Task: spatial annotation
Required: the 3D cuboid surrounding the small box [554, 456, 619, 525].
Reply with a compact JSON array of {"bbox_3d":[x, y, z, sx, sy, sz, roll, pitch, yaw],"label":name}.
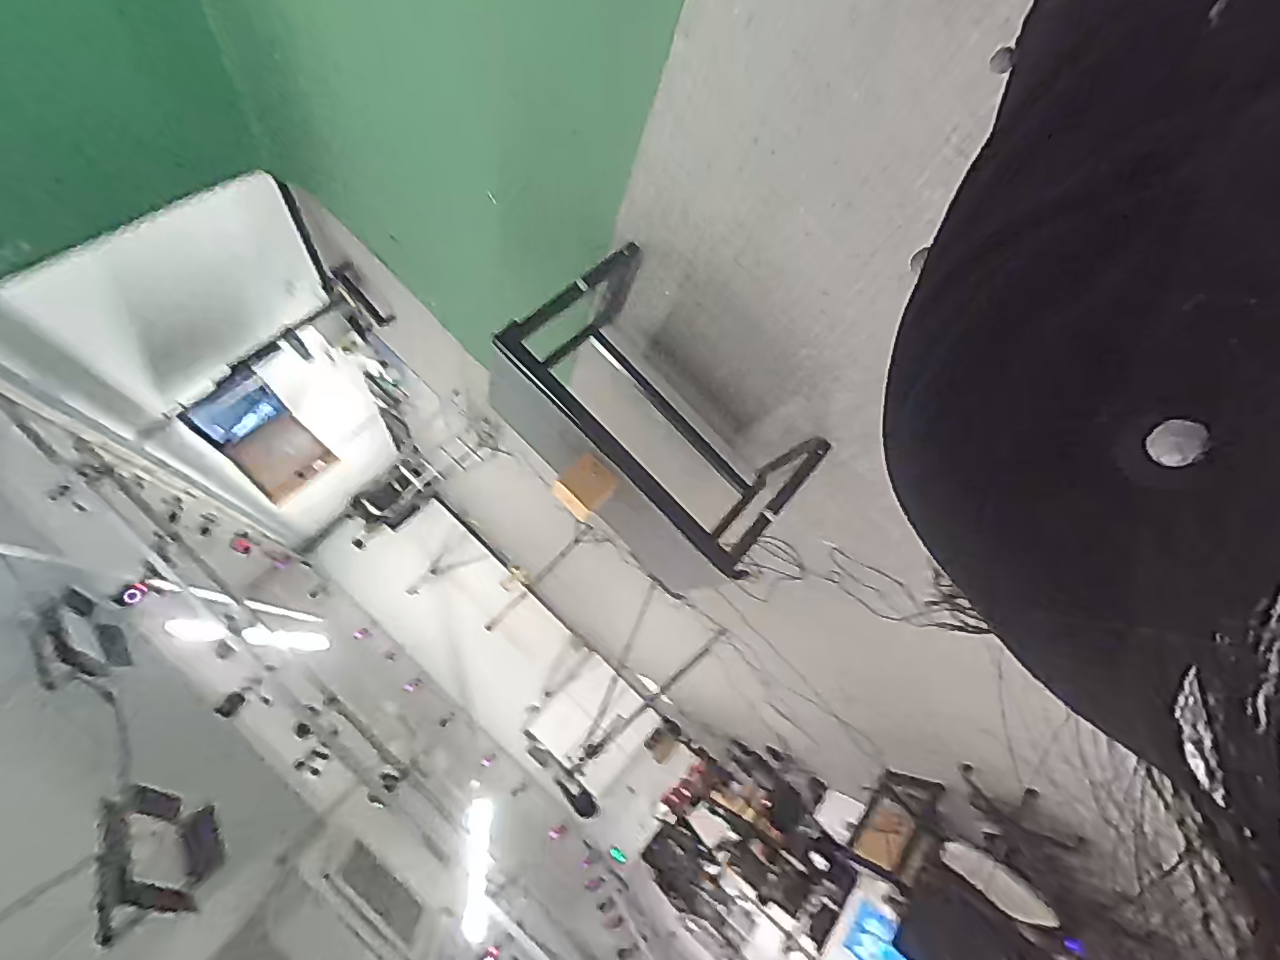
[{"bbox_3d":[-0.201,0.041,2.020,0.168,0.176,0.179,43,157,2],"label":"small box"}]
